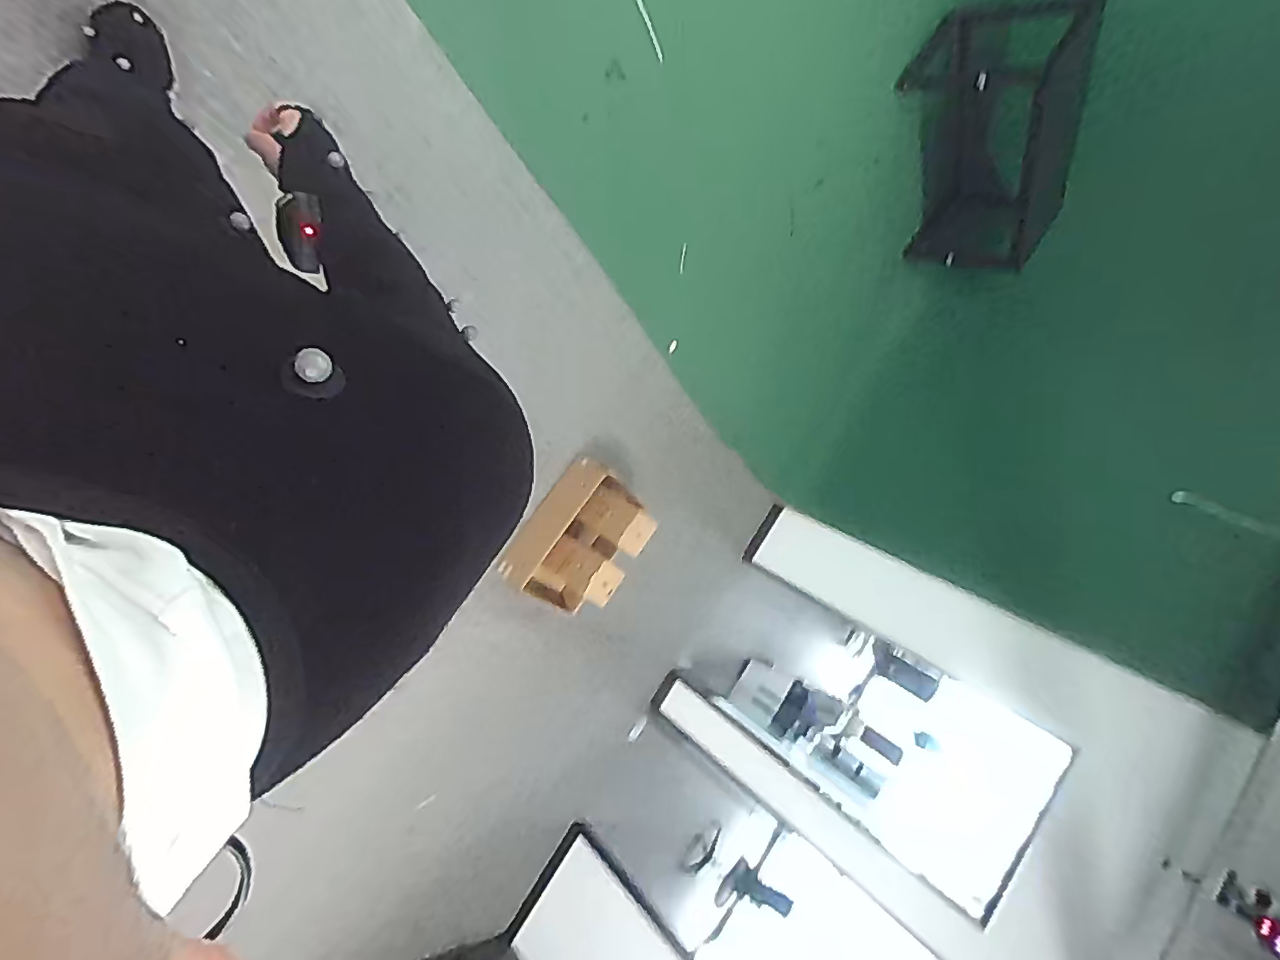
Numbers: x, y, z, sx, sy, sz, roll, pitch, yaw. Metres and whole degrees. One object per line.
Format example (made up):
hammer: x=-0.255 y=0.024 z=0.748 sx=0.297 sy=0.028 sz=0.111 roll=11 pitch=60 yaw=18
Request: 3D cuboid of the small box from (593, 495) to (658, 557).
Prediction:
small box: x=-0.061 y=0.187 z=2.238 sx=0.168 sy=0.176 sz=0.179 roll=-55 pitch=142 yaw=-7
